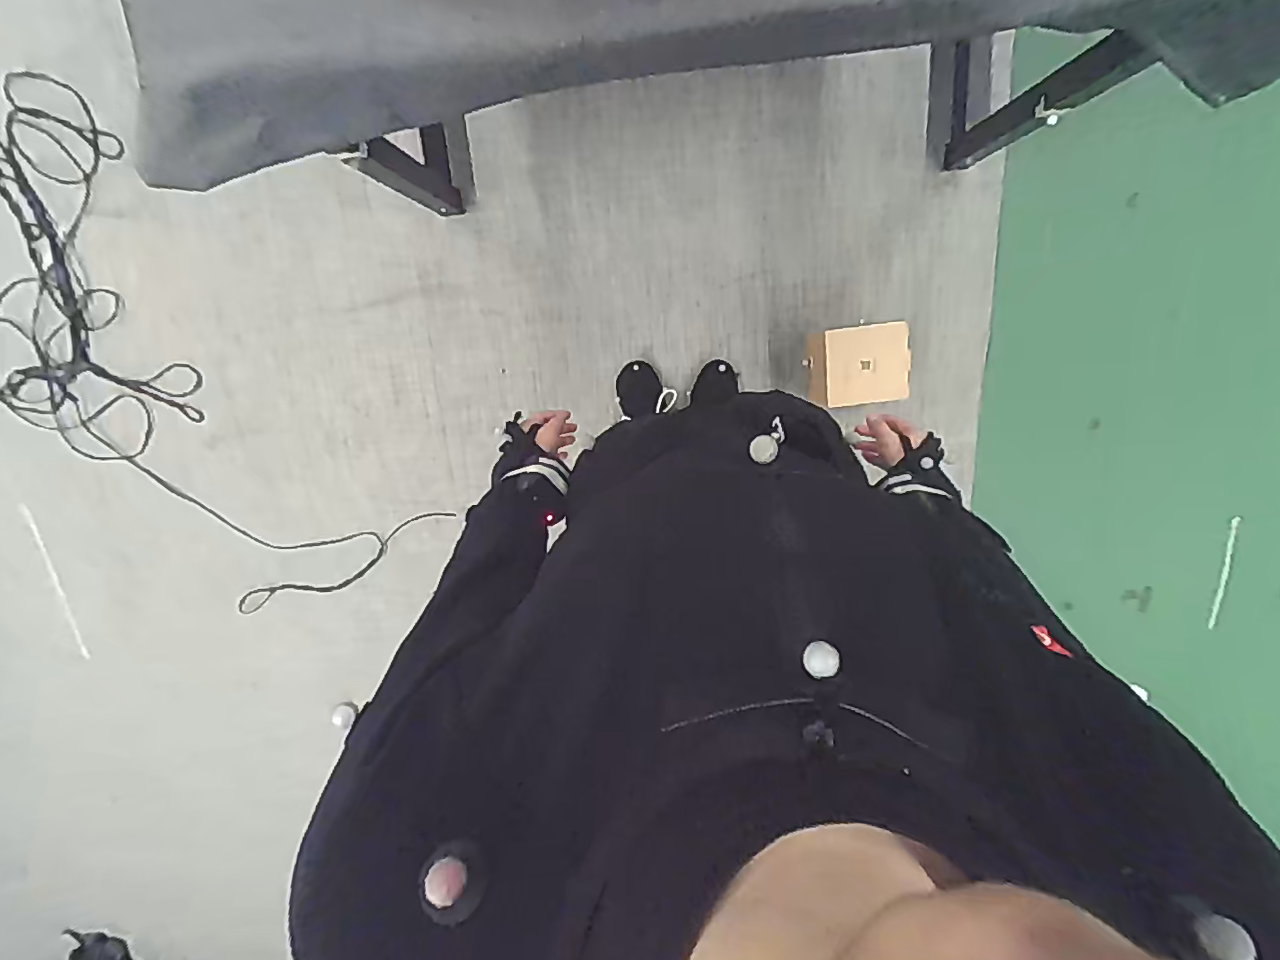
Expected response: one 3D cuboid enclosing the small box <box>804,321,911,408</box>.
[{"bbox_3d":[0.482,-0.261,1.213,0.179,0.176,0.168,-7,103,4],"label":"small box"}]
